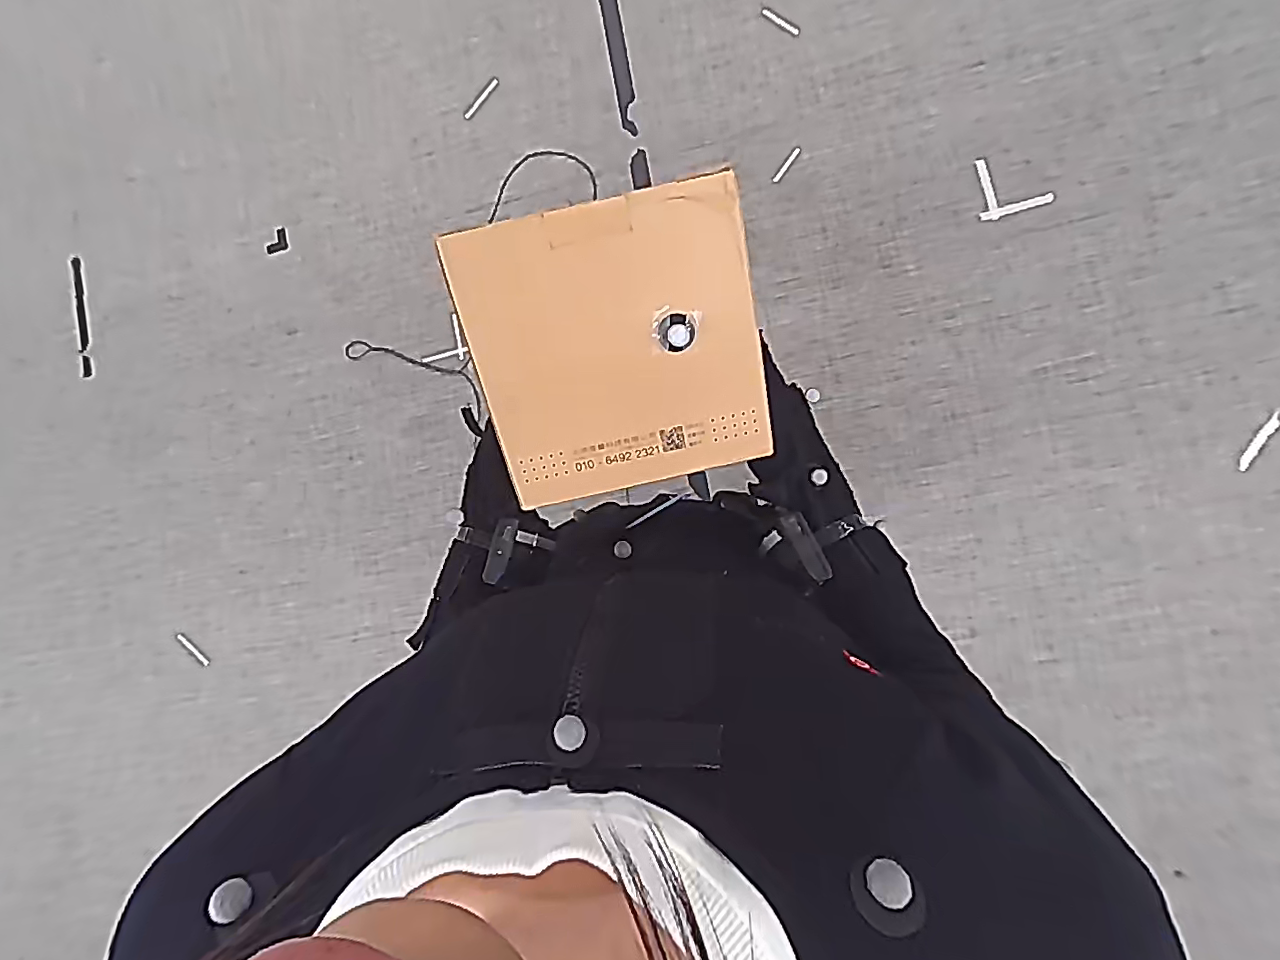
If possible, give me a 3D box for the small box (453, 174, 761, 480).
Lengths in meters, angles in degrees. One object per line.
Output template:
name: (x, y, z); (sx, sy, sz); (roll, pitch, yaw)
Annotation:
small box: (-0.014, -0.109, 0.410); (0.168, 0.179, 0.176); (-12, 112, 2)
